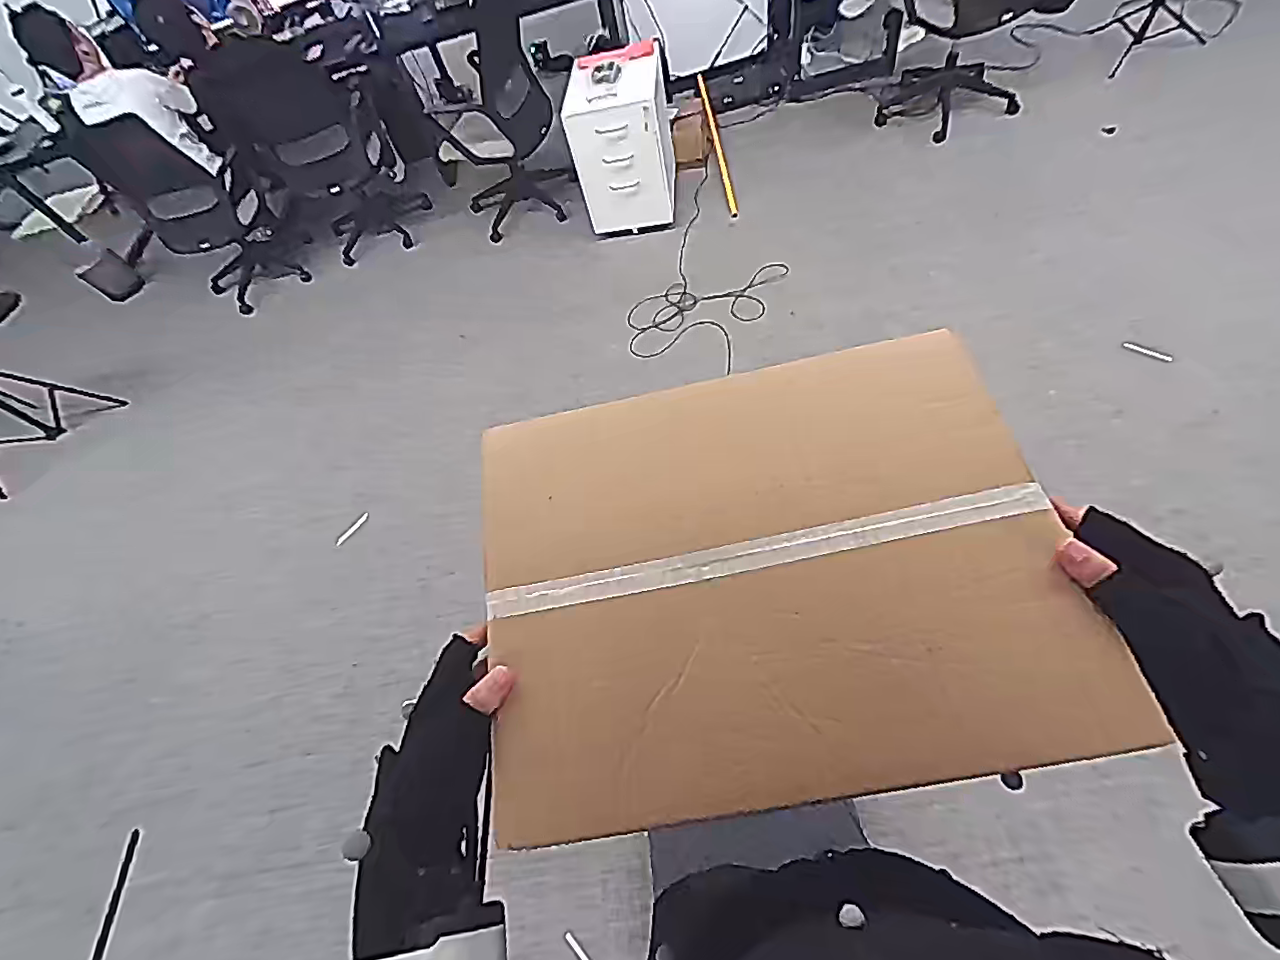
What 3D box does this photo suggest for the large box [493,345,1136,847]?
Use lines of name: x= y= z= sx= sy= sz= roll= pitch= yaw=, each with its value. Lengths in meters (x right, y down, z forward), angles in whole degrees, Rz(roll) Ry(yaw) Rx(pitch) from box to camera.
large box: x=0.109 y=0.121 z=0.536 sx=0.408 sy=0.320 sz=0.320 roll=-11 pitch=63 yaw=4
